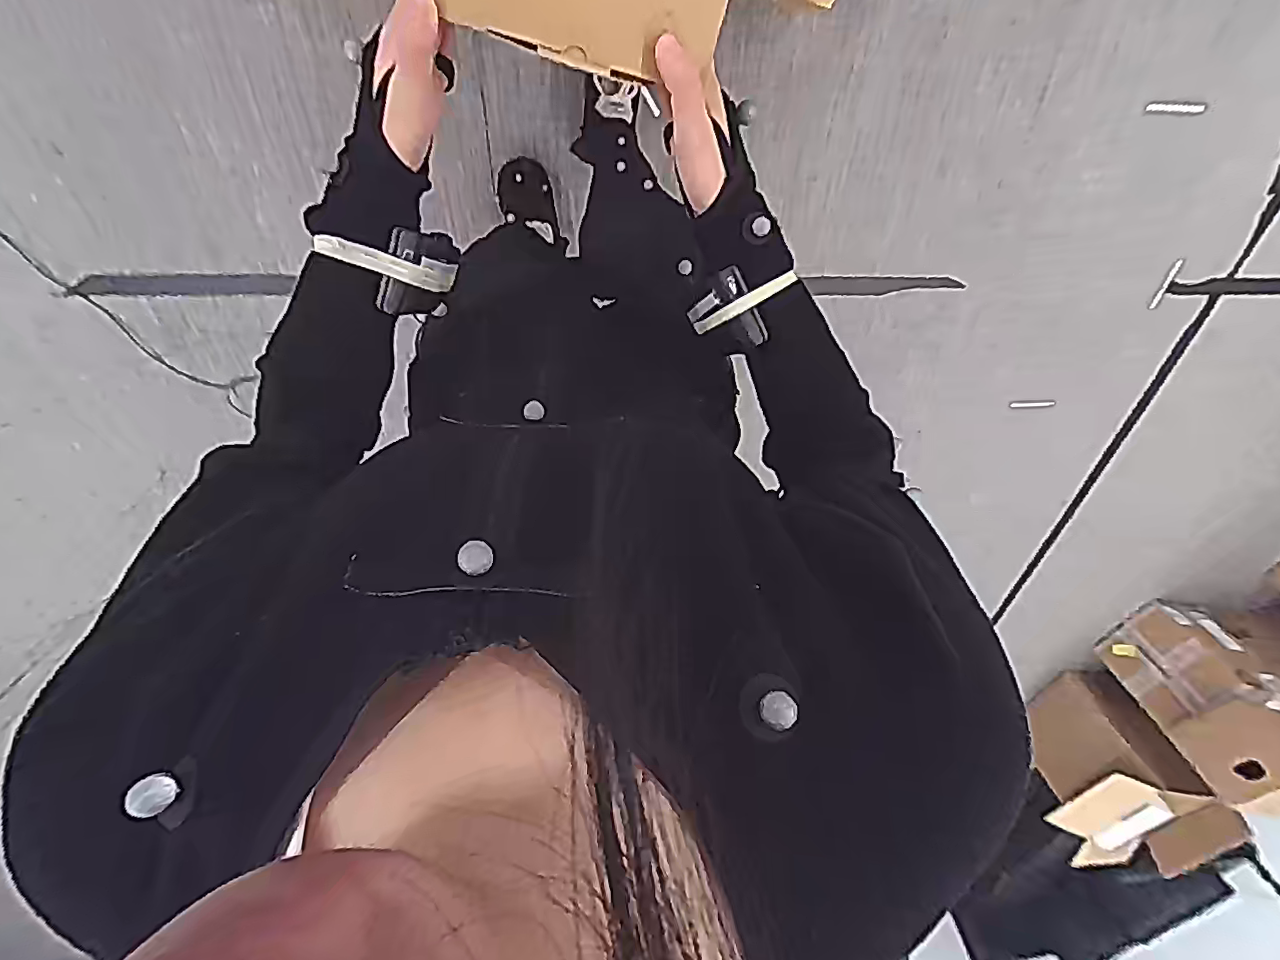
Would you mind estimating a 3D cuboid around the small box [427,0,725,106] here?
[{"bbox_3d":[-0.034,-0.363,0.330,0.168,0.176,0.179,3,129,-18],"label":"small box"}]

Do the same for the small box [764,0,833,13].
[{"bbox_3d":[0.269,-0.956,0.947,0.179,0.176,0.168,11,126,-16],"label":"small box"}]
